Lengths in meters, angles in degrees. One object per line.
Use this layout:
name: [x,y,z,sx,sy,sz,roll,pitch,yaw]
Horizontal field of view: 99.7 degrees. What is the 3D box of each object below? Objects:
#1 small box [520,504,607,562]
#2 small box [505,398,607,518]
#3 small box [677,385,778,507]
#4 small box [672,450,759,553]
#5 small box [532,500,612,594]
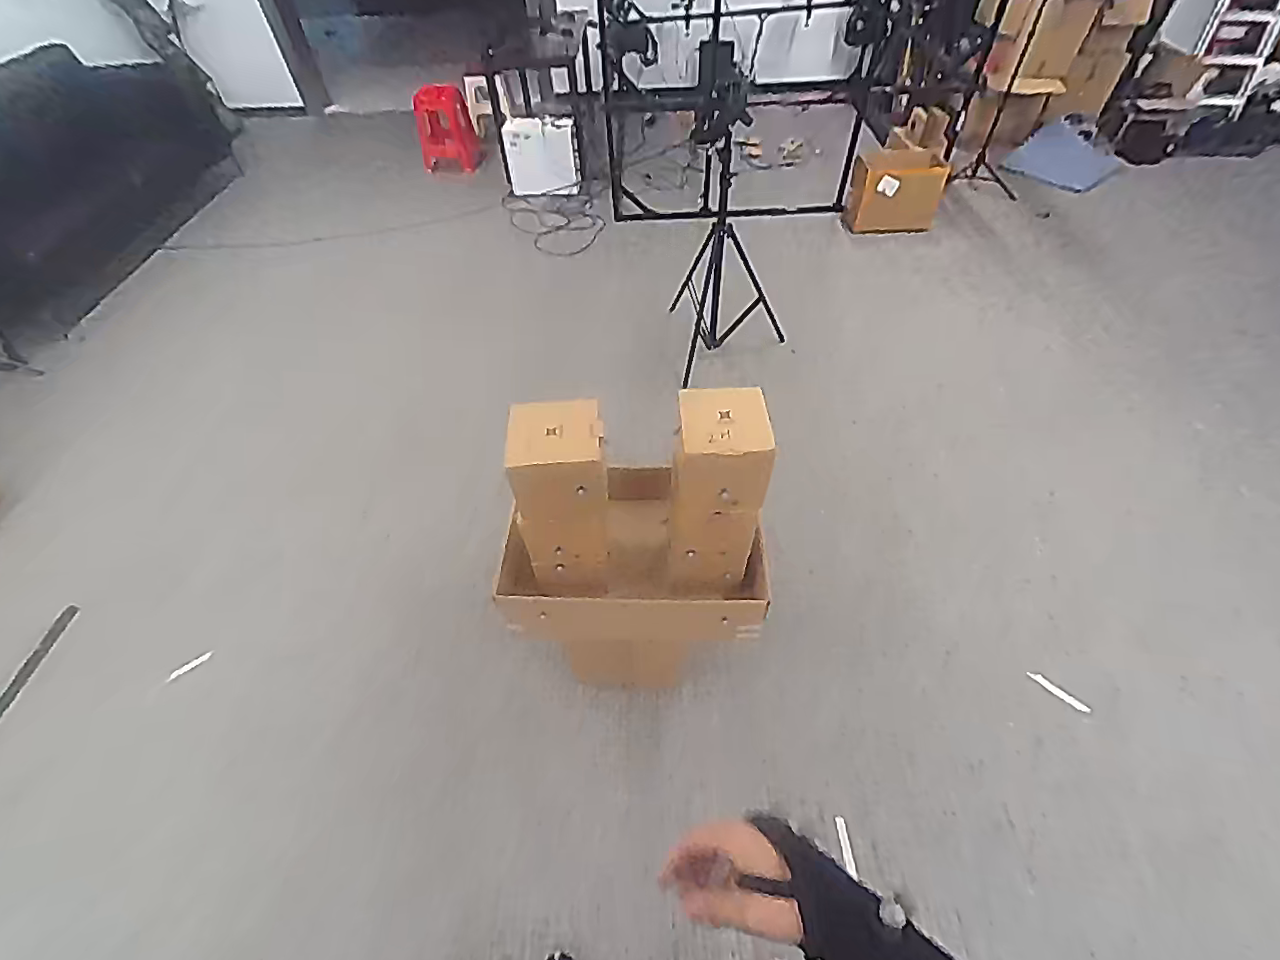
small box: [-0.163,0.061,1.191,0.168,0.176,0.179,-5,52,-1]
small box: [-0.155,-0.041,1.062,0.179,0.176,0.168,-4,51,-1]
small box: [0.161,-0.065,1.064,0.168,0.176,0.179,-2,51,0]
small box: [0.157,0.050,1.182,0.168,0.176,0.179,-2,51,-1]
small box: [-0.159,0.159,1.321,0.168,0.176,0.179,-3,50,1]
